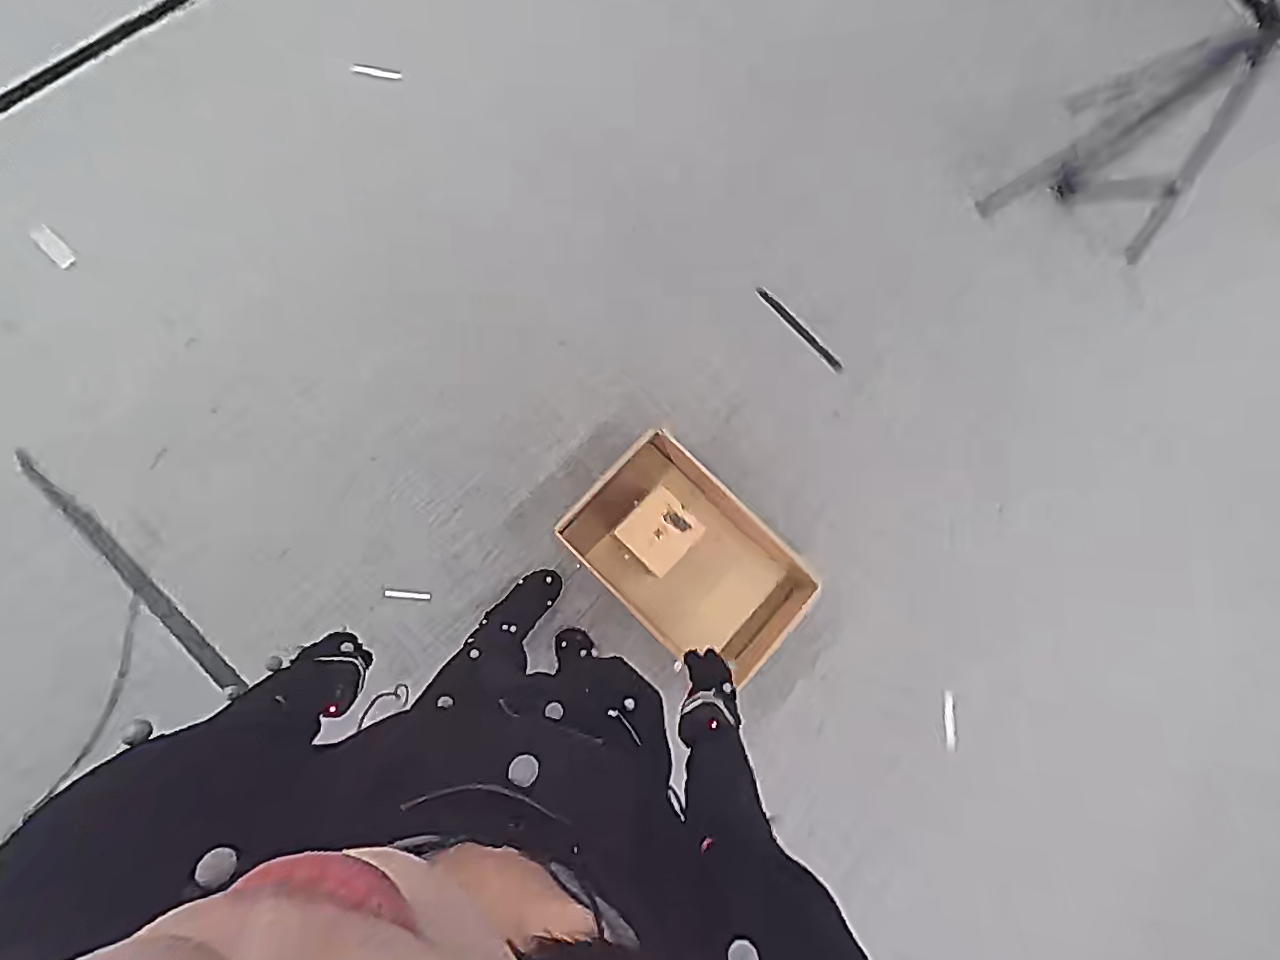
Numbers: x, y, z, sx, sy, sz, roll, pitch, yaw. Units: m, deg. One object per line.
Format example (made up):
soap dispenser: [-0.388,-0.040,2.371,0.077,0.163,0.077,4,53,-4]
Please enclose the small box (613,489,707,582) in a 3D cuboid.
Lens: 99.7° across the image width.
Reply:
small box: [0.044,0.146,1.423,0.168,0.176,0.179,45,80,0]
